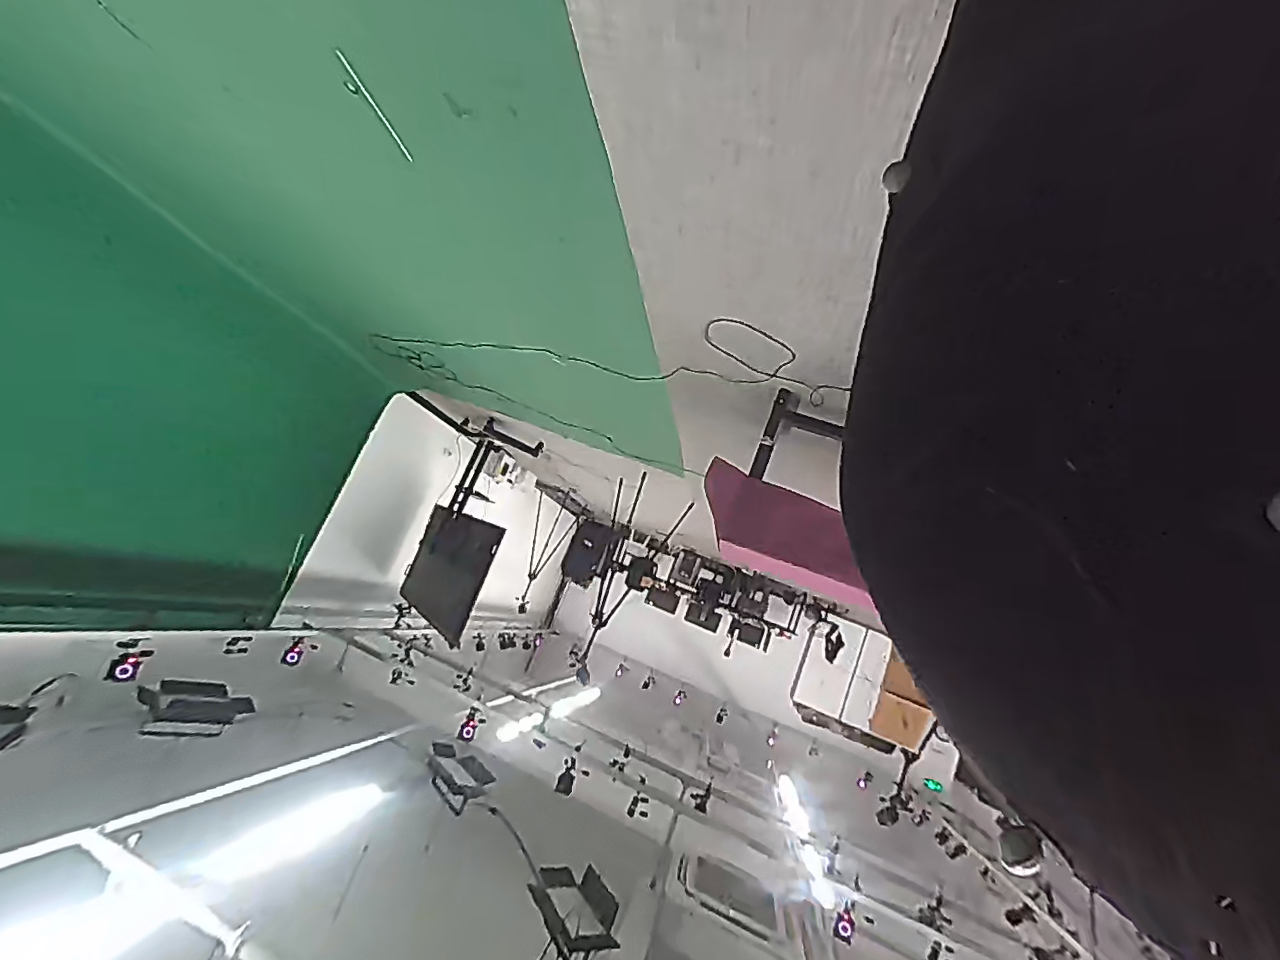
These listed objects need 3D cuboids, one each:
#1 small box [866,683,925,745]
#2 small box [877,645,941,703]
[{"bbox_3d":[1.004,0.912,2.127,0.168,0.176,0.179,18,169,24],"label":"small box"},{"bbox_3d":[1.076,0.770,2.164,0.179,0.176,0.168,19,169,20],"label":"small box"}]
